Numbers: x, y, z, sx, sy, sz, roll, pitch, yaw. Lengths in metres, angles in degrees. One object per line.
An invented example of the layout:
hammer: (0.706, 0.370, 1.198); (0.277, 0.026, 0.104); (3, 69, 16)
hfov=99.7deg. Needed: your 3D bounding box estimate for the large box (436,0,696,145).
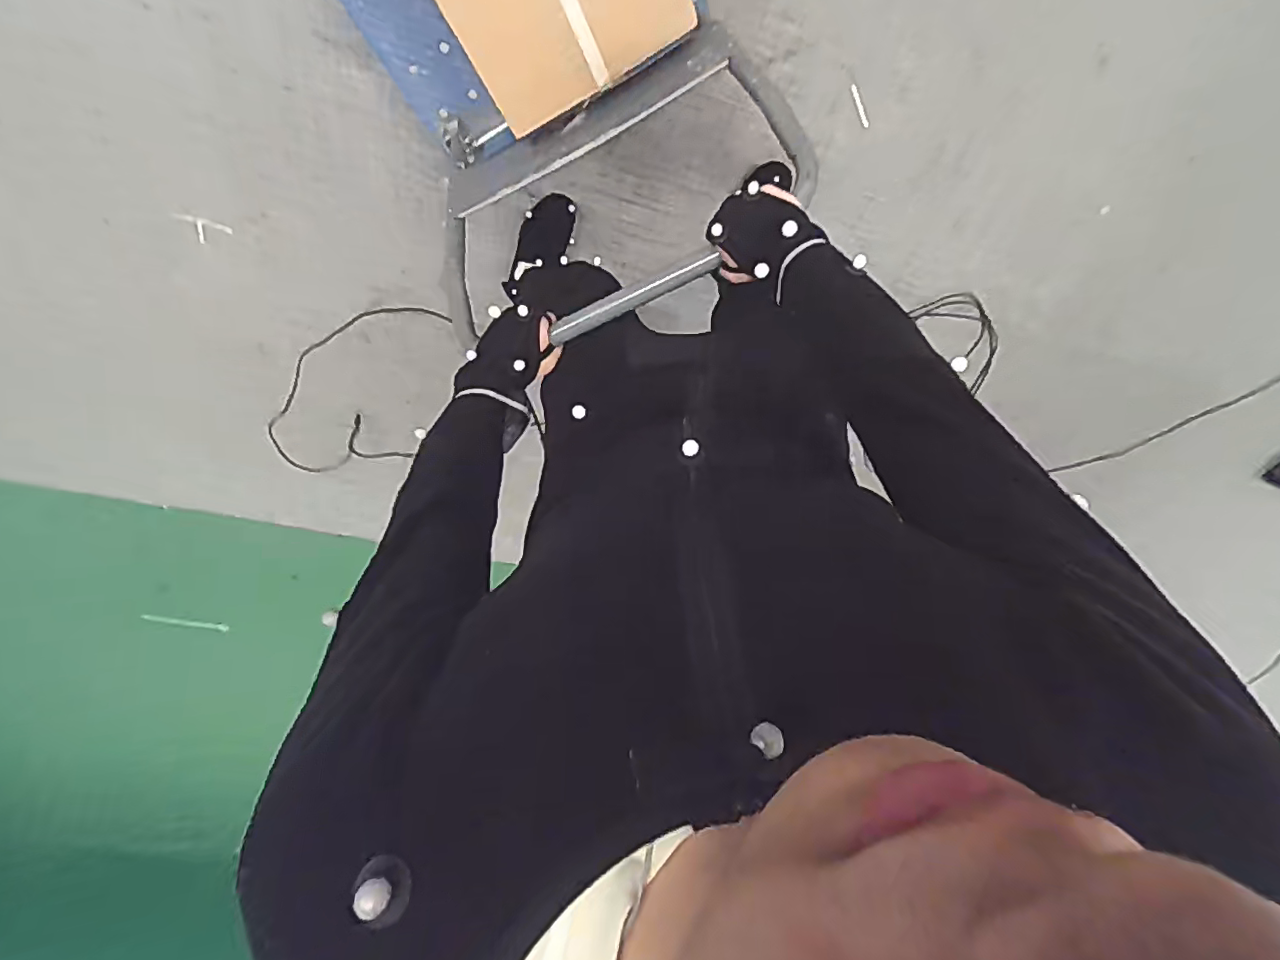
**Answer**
large box: (-0.156, -0.813, 0.790); (0.320, 0.320, 0.408); (-24, 138, 14)
